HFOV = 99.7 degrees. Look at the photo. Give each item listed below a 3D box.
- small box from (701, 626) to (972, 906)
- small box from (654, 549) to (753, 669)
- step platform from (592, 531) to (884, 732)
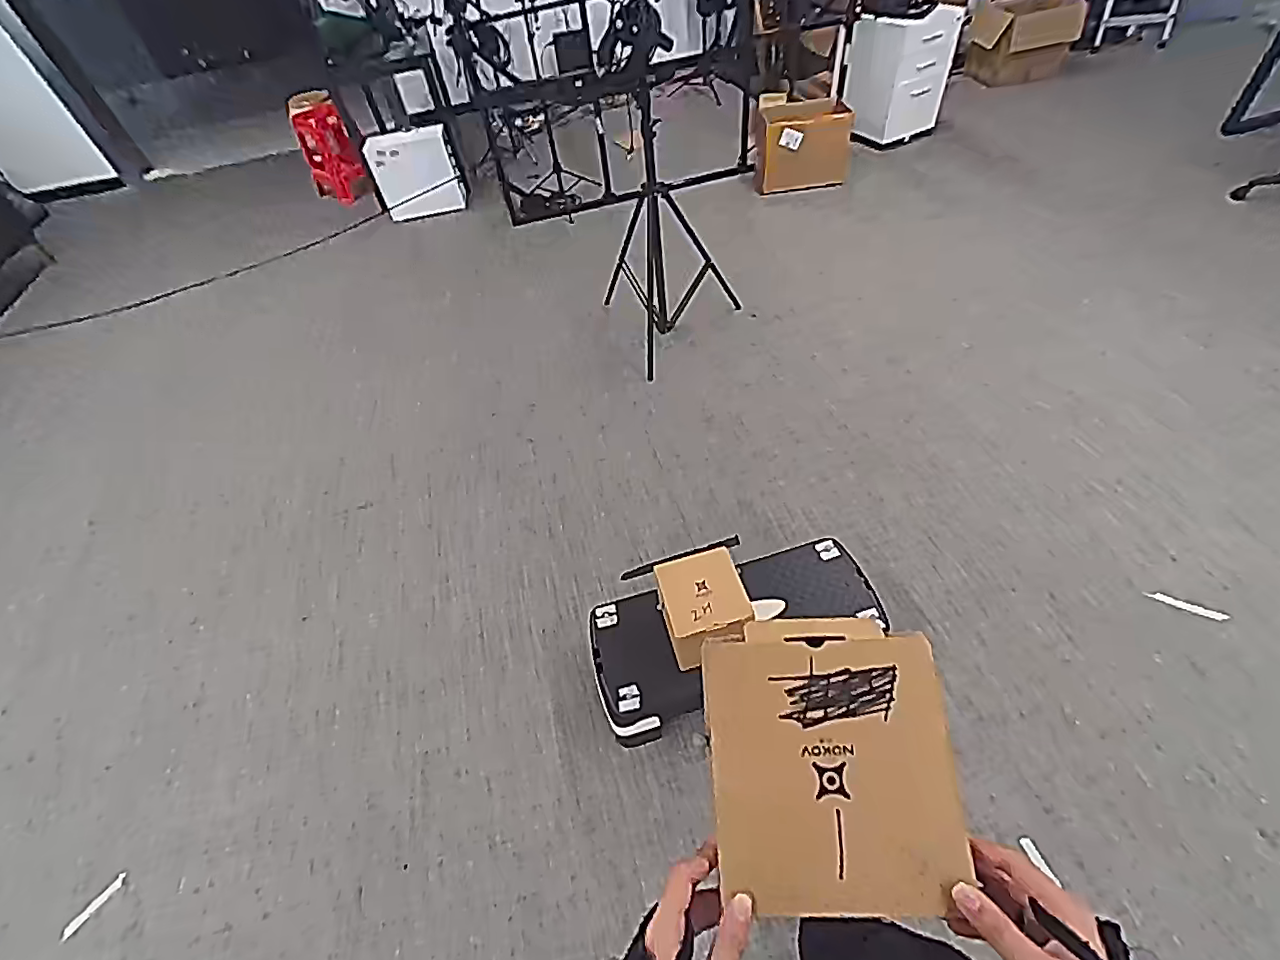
[{"bbox_3d":[0.138,0.222,0.456,0.168,0.176,0.179,-3,70,5],"label":"small box"},{"bbox_3d":[0.134,0.282,1.175,0.168,0.176,0.179,-15,49,-4],"label":"small box"},{"bbox_3d":[0.228,0.359,1.325,0.684,0.204,0.286,-16,49,-5],"label":"step platform"}]
